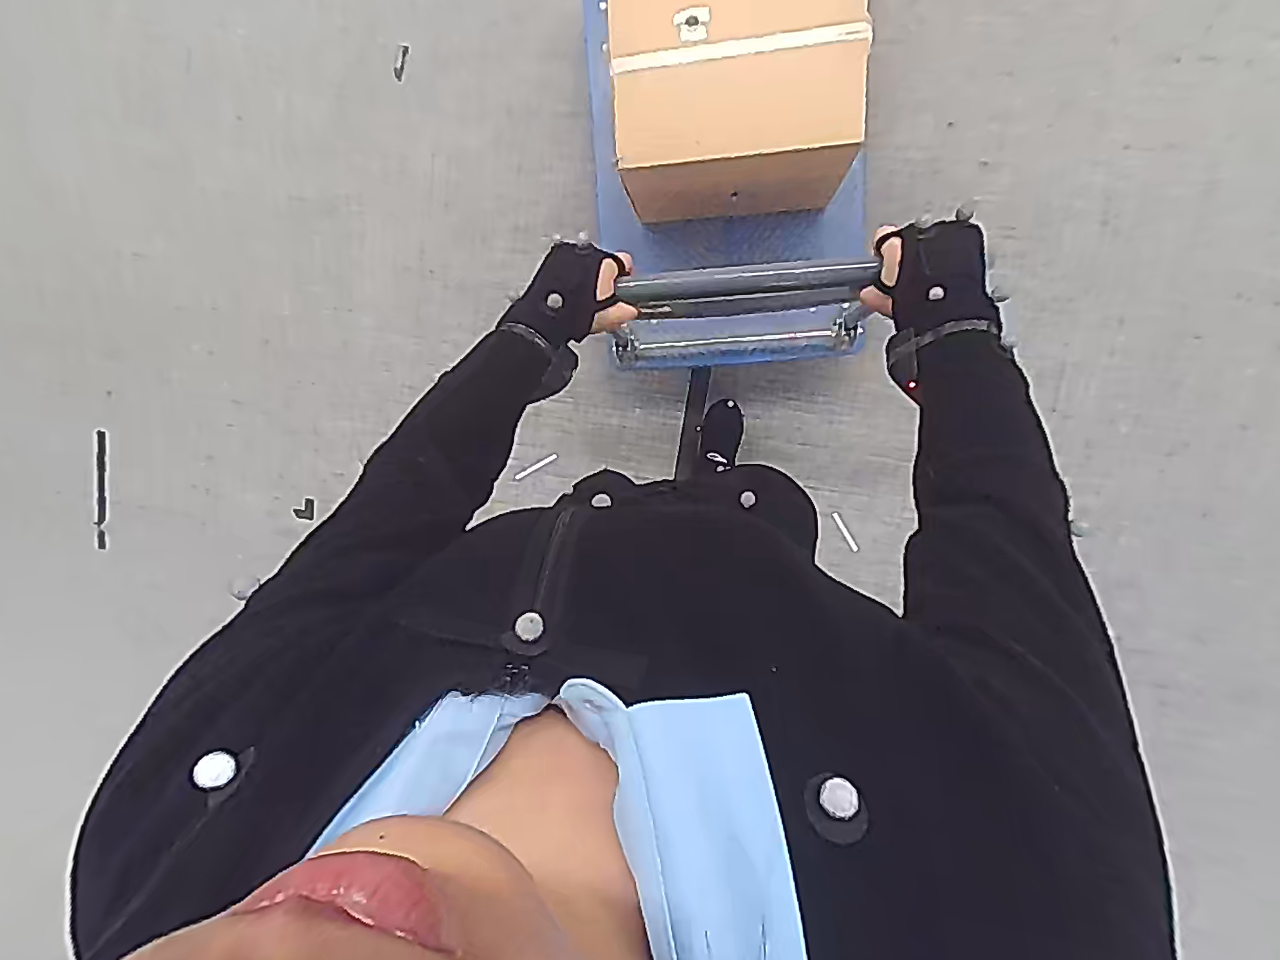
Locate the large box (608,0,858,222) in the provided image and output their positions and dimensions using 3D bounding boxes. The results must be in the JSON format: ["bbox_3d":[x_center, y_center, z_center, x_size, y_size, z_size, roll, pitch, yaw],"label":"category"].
[{"bbox_3d":[0.175,-0.717,1.035,0.408,0.320,0.320,-2,98,9],"label":"large box"}]
